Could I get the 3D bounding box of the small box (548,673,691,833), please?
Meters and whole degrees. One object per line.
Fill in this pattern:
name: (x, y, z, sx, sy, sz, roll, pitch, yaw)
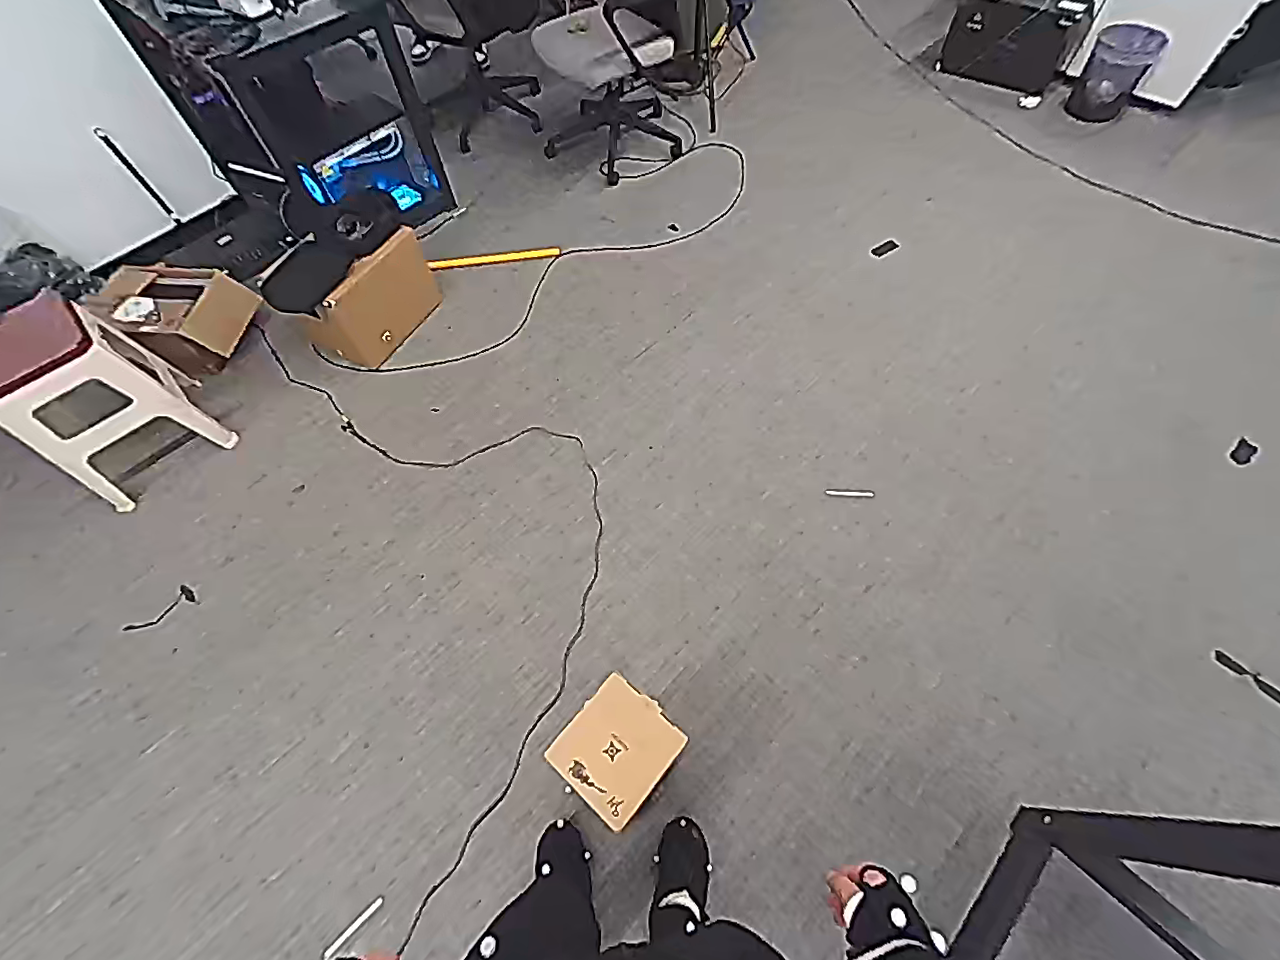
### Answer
small box: (-0.032, 0.471, 0.937, 0.168, 0.176, 0.179, 36, 67, 21)
